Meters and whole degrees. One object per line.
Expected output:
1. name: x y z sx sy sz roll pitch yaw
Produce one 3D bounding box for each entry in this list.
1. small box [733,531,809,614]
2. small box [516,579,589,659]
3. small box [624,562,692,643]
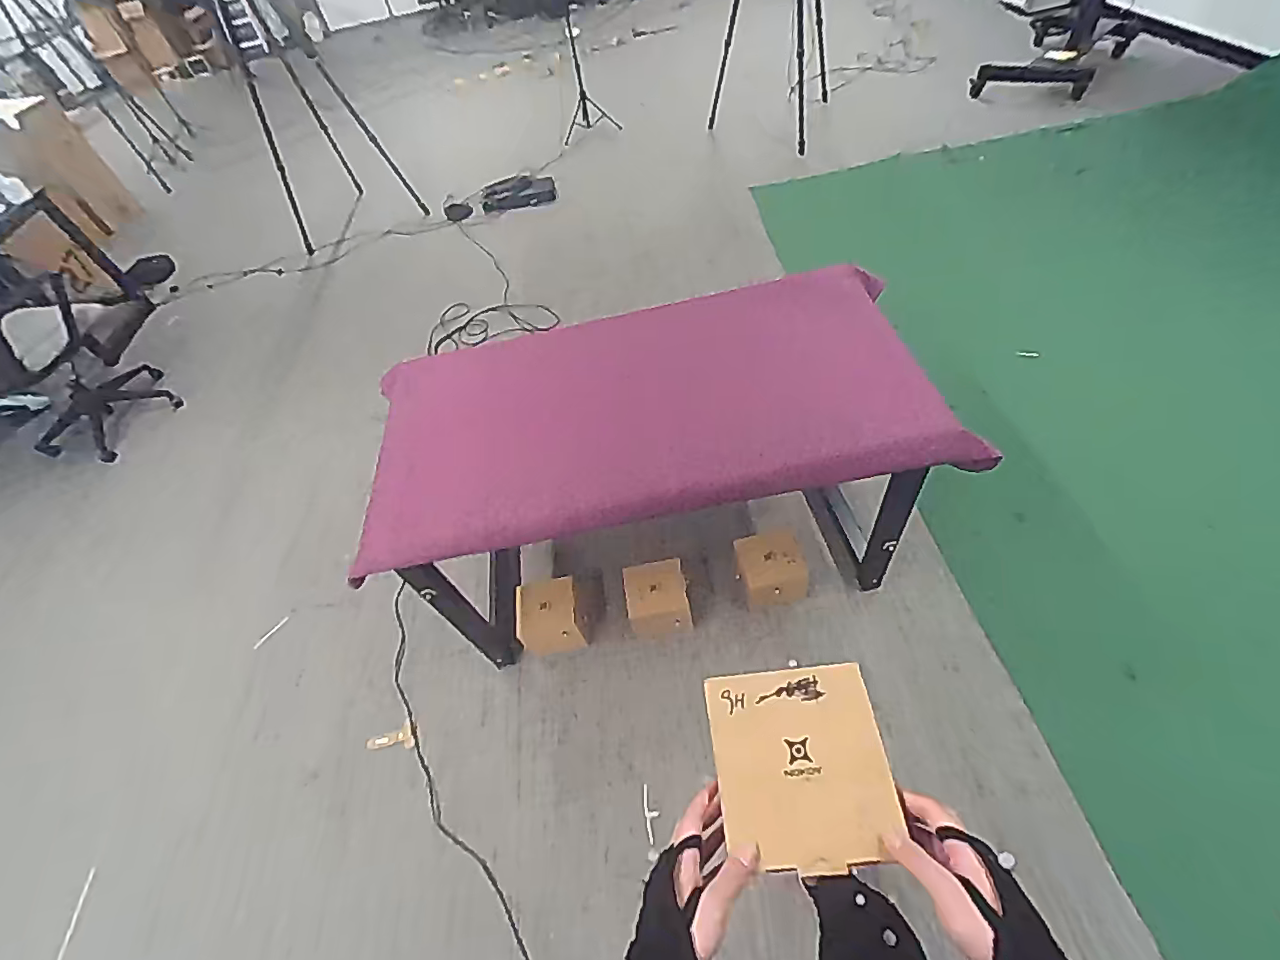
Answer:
1. small box: 0.389 0.281 1.614 0.179 0.176 0.168 -14 51 0
2. small box: -0.262 0.425 1.636 0.179 0.176 0.168 -12 51 2
3. small box: 0.057 0.368 1.615 0.179 0.176 0.168 -12 50 3
